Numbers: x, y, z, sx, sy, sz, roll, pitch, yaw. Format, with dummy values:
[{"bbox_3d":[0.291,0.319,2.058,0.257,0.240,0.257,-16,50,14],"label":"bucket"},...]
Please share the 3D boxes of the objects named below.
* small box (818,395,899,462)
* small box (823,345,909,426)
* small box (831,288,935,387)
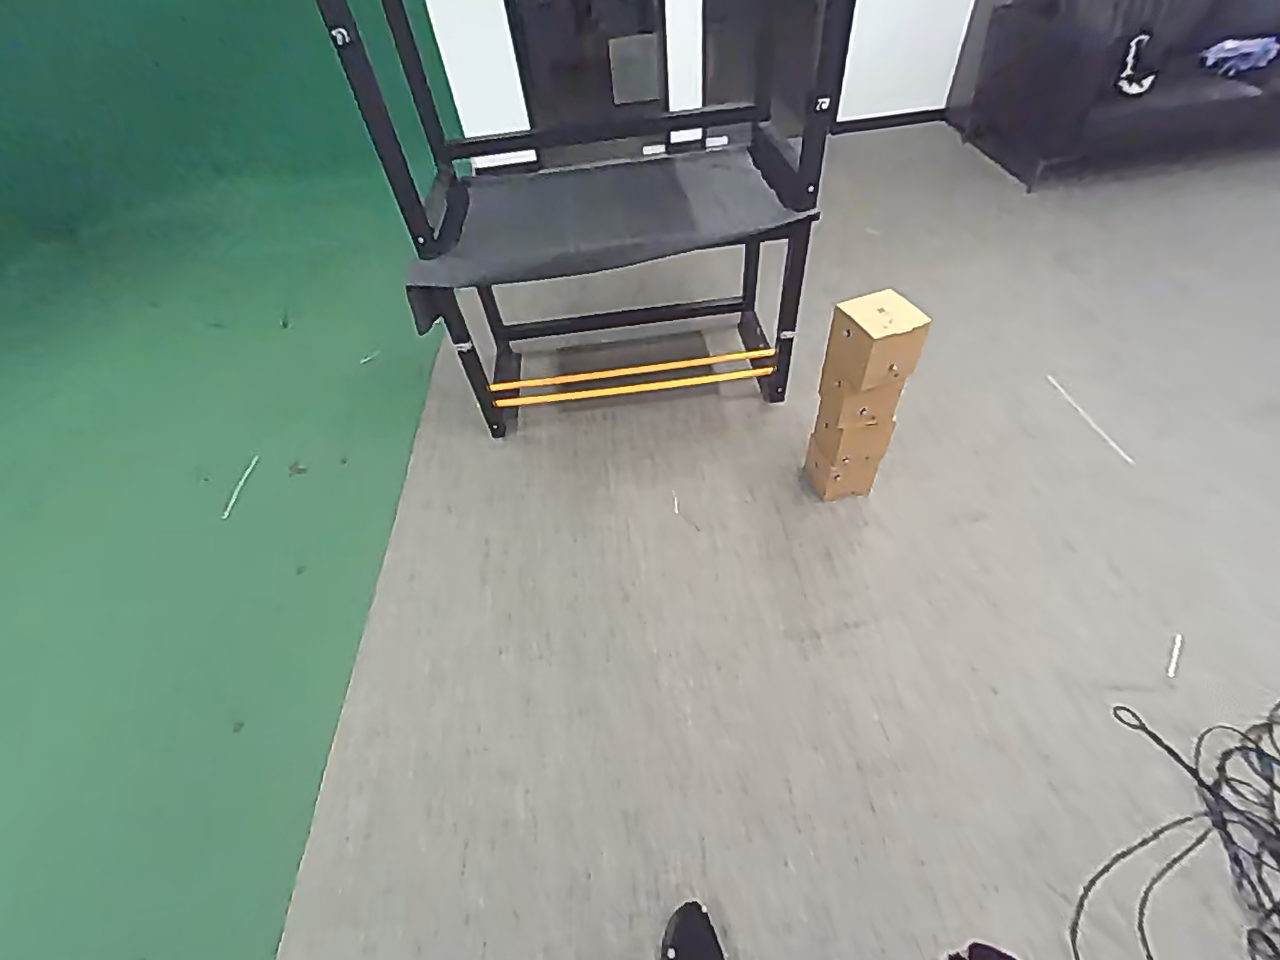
[{"bbox_3d":[0.671,-0.172,1.680,0.168,0.176,0.179,-9,48,-2],"label":"small box"},{"bbox_3d":[0.642,-0.281,1.562,0.168,0.176,0.179,-8,49,1],"label":"small box"},{"bbox_3d":[0.628,-0.373,1.426,0.168,0.176,0.179,-18,50,-8],"label":"small box"}]
